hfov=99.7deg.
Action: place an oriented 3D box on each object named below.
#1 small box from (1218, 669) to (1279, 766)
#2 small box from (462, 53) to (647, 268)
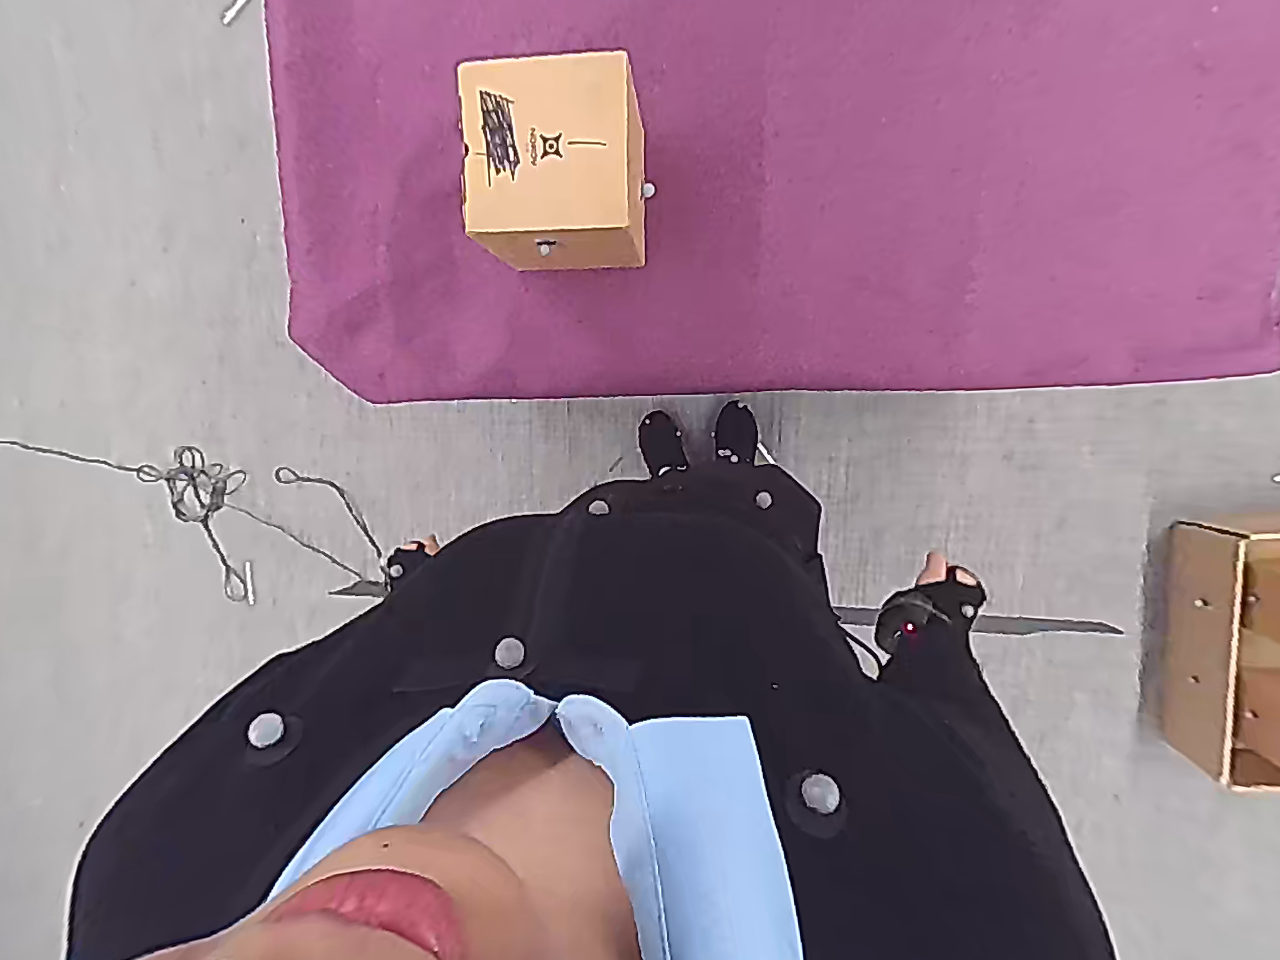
[{"bbox_3d":[1.531,0.559,1.271,0.179,0.176,0.168,-3,98,6],"label":"small box"},{"bbox_3d":[-0.087,-0.351,0.629,0.179,0.176,0.168,1,99,6],"label":"small box"}]
